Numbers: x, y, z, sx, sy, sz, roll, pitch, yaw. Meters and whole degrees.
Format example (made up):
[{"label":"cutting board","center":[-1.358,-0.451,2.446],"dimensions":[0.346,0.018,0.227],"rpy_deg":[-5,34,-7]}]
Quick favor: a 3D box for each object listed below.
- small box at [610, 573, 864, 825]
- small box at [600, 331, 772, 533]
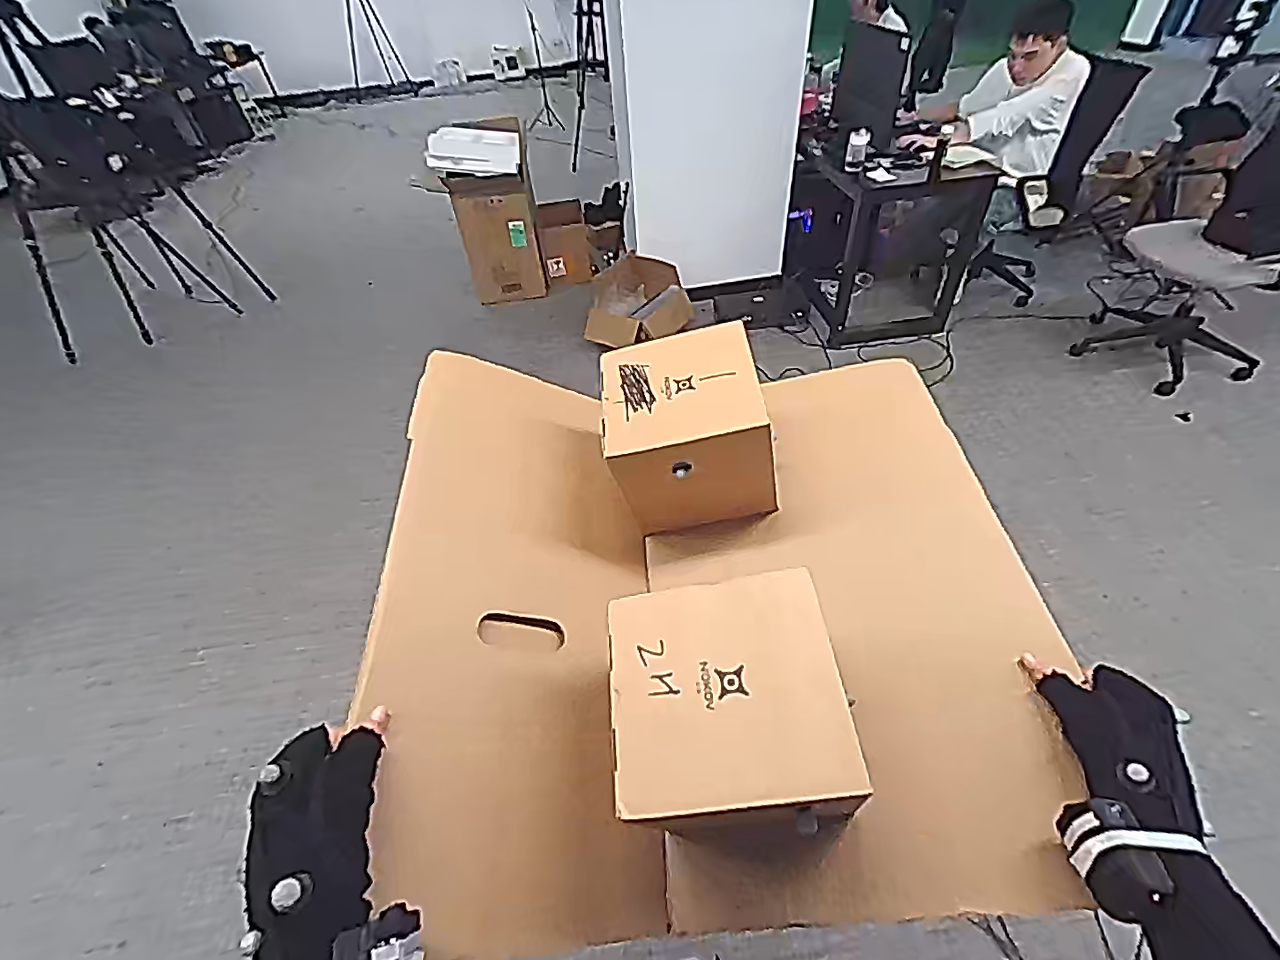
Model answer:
[{"label":"small box","center":[0.081,0.203,0.484],"dimensions":[0.179,0.176,0.168],"rpy_deg":[-12,53,10]},{"label":"small box","center":[0.058,-0.051,0.672],"dimensions":[0.179,0.176,0.168],"rpy_deg":[-12,53,9]}]
